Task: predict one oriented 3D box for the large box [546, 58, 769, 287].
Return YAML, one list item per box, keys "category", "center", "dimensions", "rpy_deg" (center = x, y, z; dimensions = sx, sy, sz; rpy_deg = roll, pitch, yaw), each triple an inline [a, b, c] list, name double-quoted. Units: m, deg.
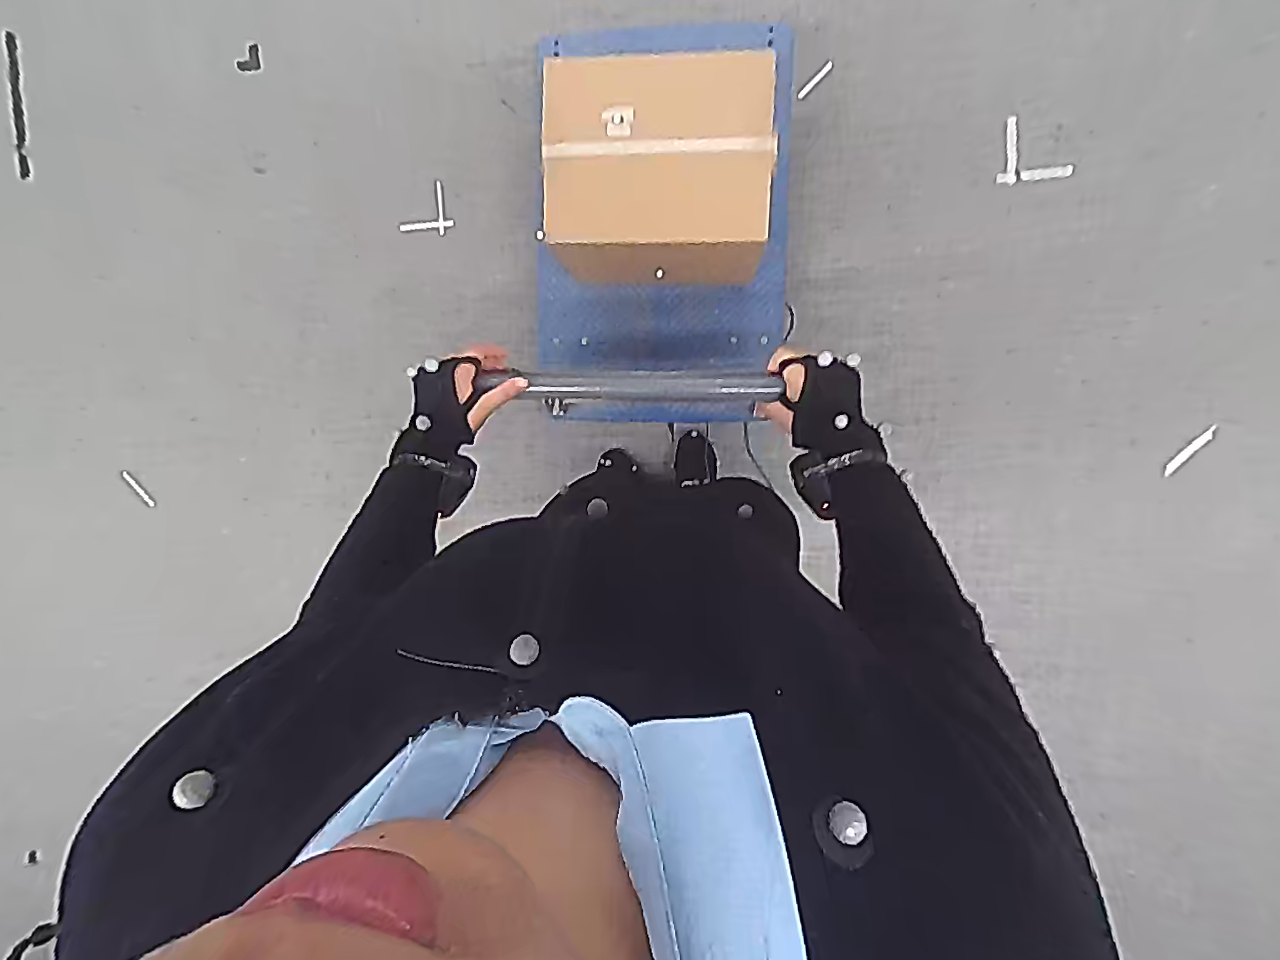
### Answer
- category: "large box"
  center: [0.044, -0.593, 1.114]
  dimensions: [0.408, 0.320, 0.320]
  rpy_deg: [2, 95, 6]
